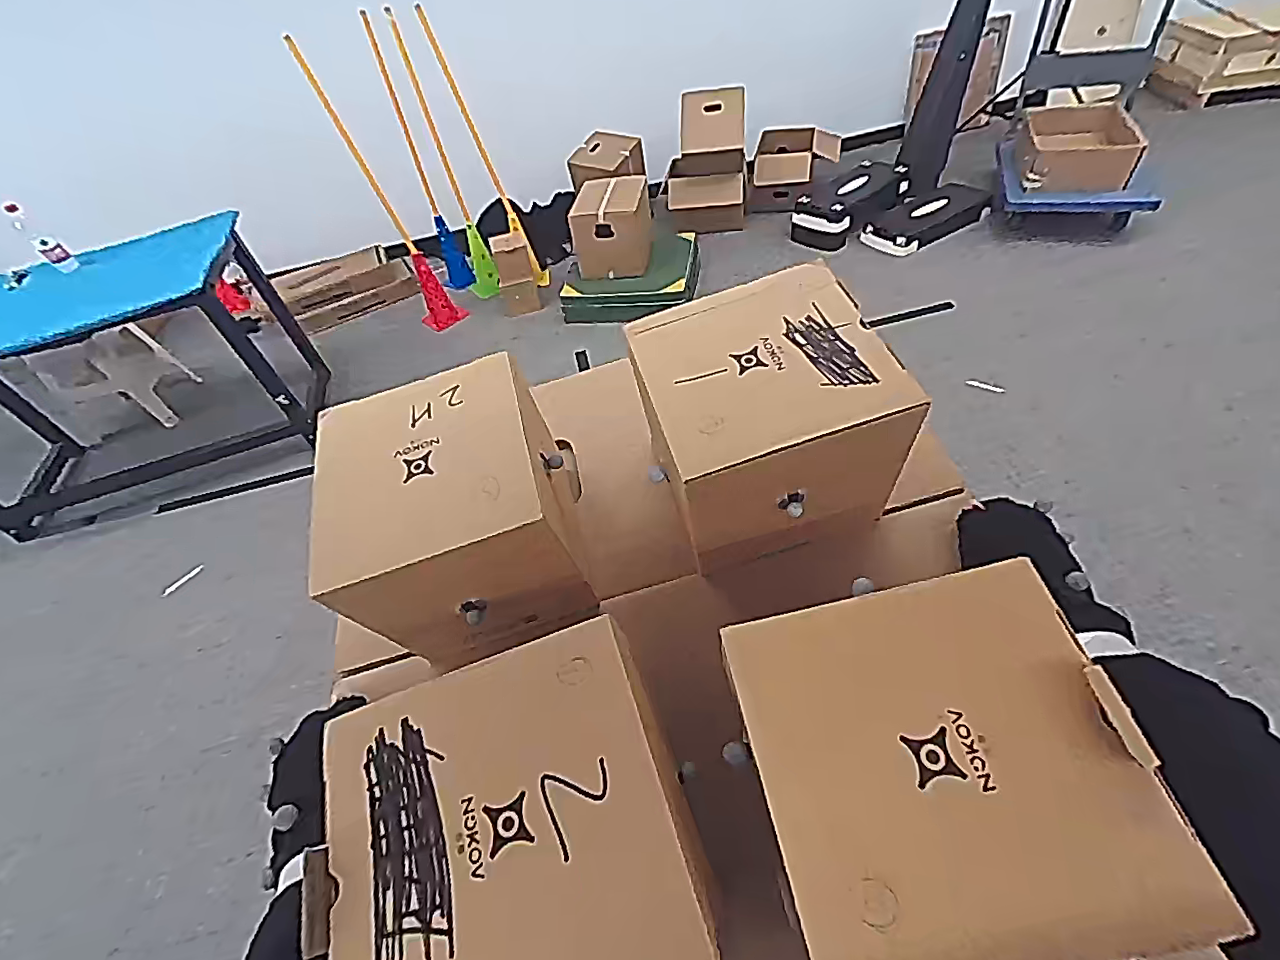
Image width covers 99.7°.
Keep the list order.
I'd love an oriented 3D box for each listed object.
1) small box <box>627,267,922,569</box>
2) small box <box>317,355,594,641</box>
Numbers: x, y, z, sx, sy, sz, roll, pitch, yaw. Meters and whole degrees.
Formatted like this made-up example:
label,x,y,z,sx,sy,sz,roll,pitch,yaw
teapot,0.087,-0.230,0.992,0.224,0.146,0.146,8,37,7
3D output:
label,x,y,z,sx,sy,sz,roll,pitch,yaw
small box,0.102,-0.045,0.472,0.179,0.176,0.168,-18,57,1
small box,-0.149,0.028,0.478,0.168,0.176,0.179,-18,56,-1
